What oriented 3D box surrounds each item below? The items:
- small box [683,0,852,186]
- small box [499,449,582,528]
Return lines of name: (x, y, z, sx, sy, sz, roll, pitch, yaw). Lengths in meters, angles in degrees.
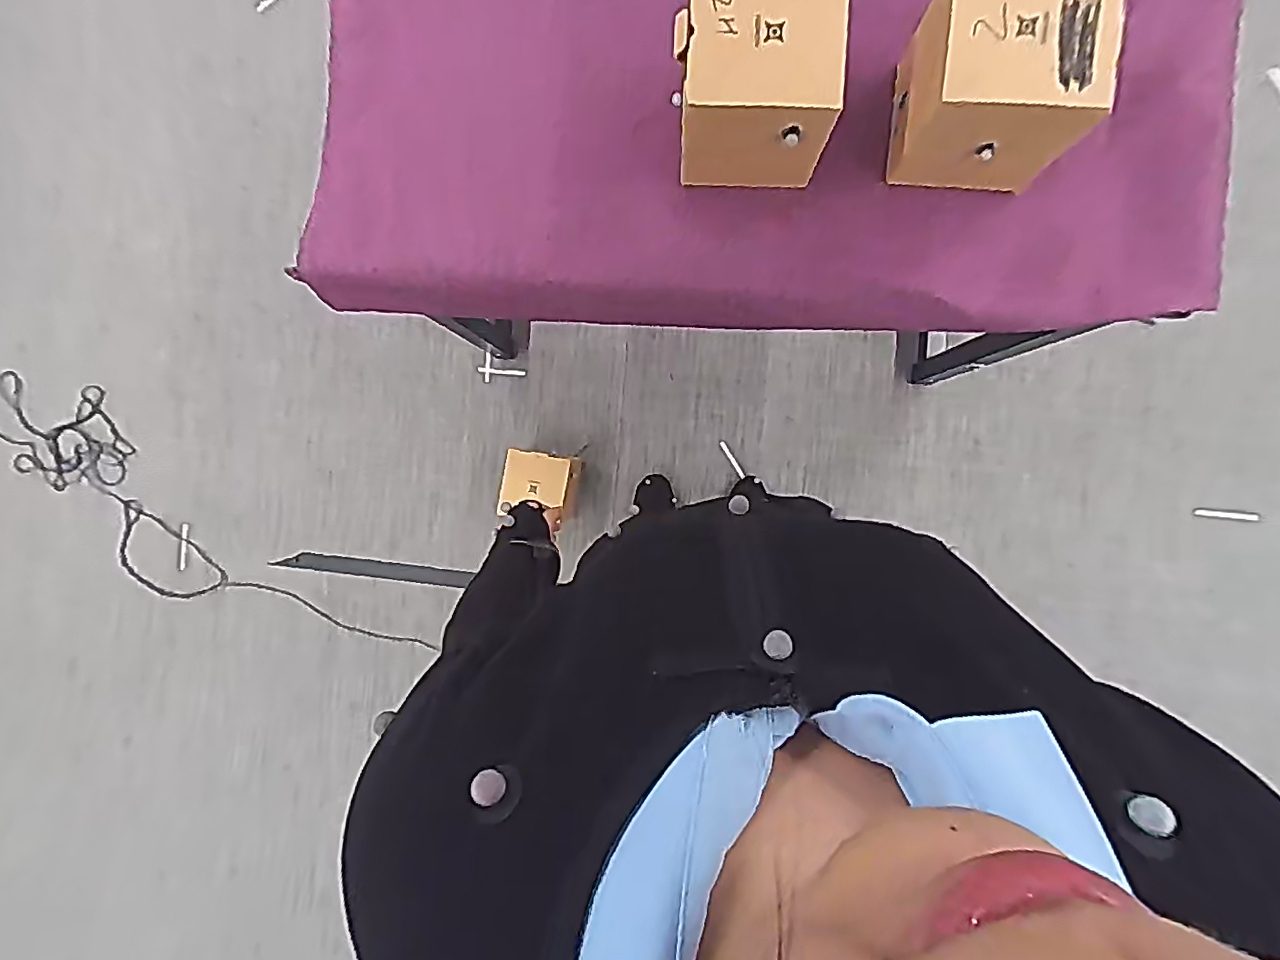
small box: (0.146, -0.489, 0.669, 0.179, 0.176, 0.168, 3, 91, 4)
small box: (-0.258, 0.020, 1.443, 0.168, 0.176, 0.179, 11, 92, 3)
